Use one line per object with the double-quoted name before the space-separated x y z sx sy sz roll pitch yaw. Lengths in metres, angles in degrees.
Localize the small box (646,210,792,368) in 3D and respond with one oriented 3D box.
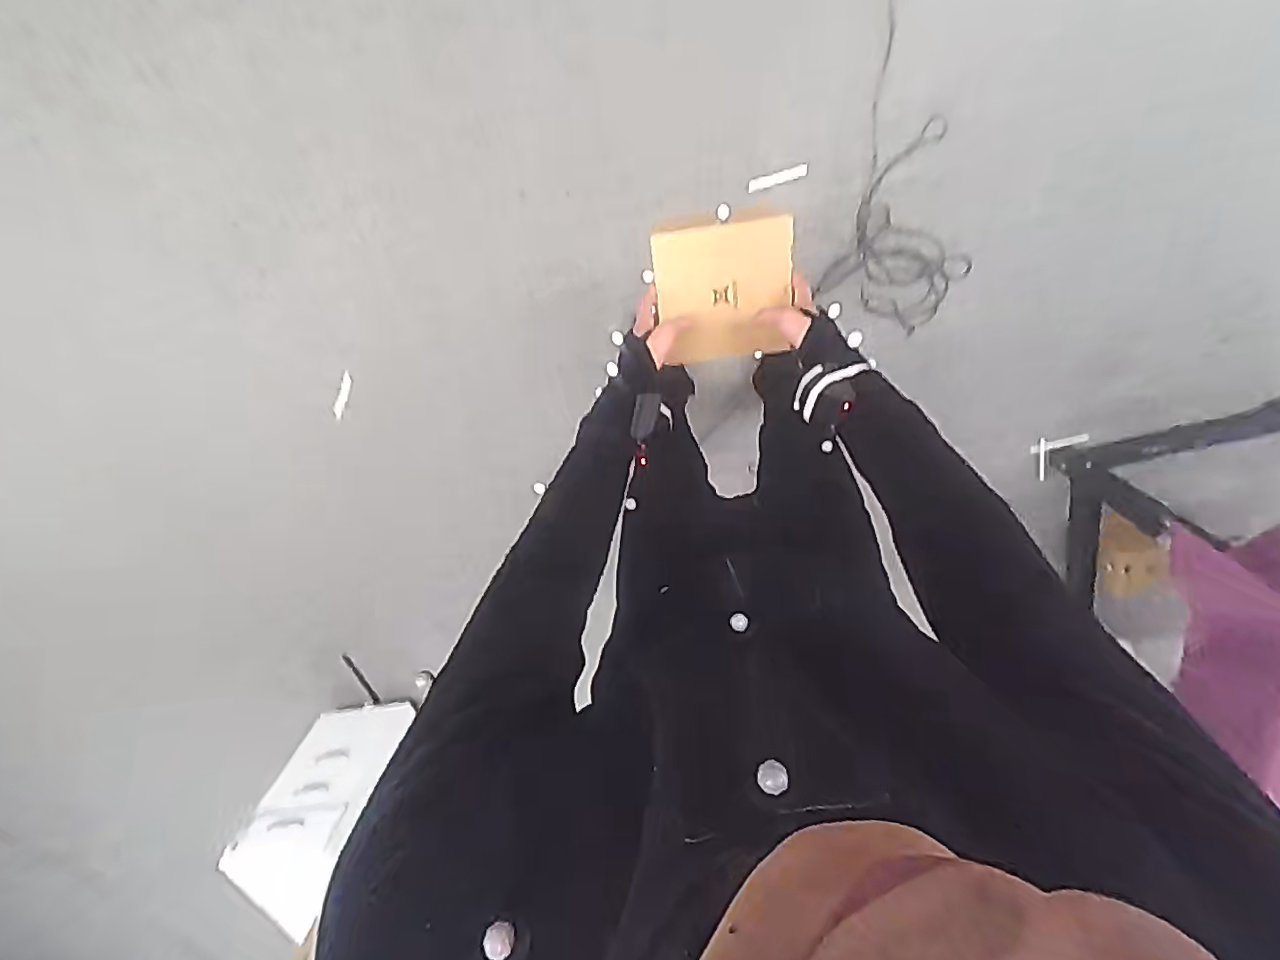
"small box" 0.104 -0.270 0.752 0.179 0.176 0.168 -7 122 4
